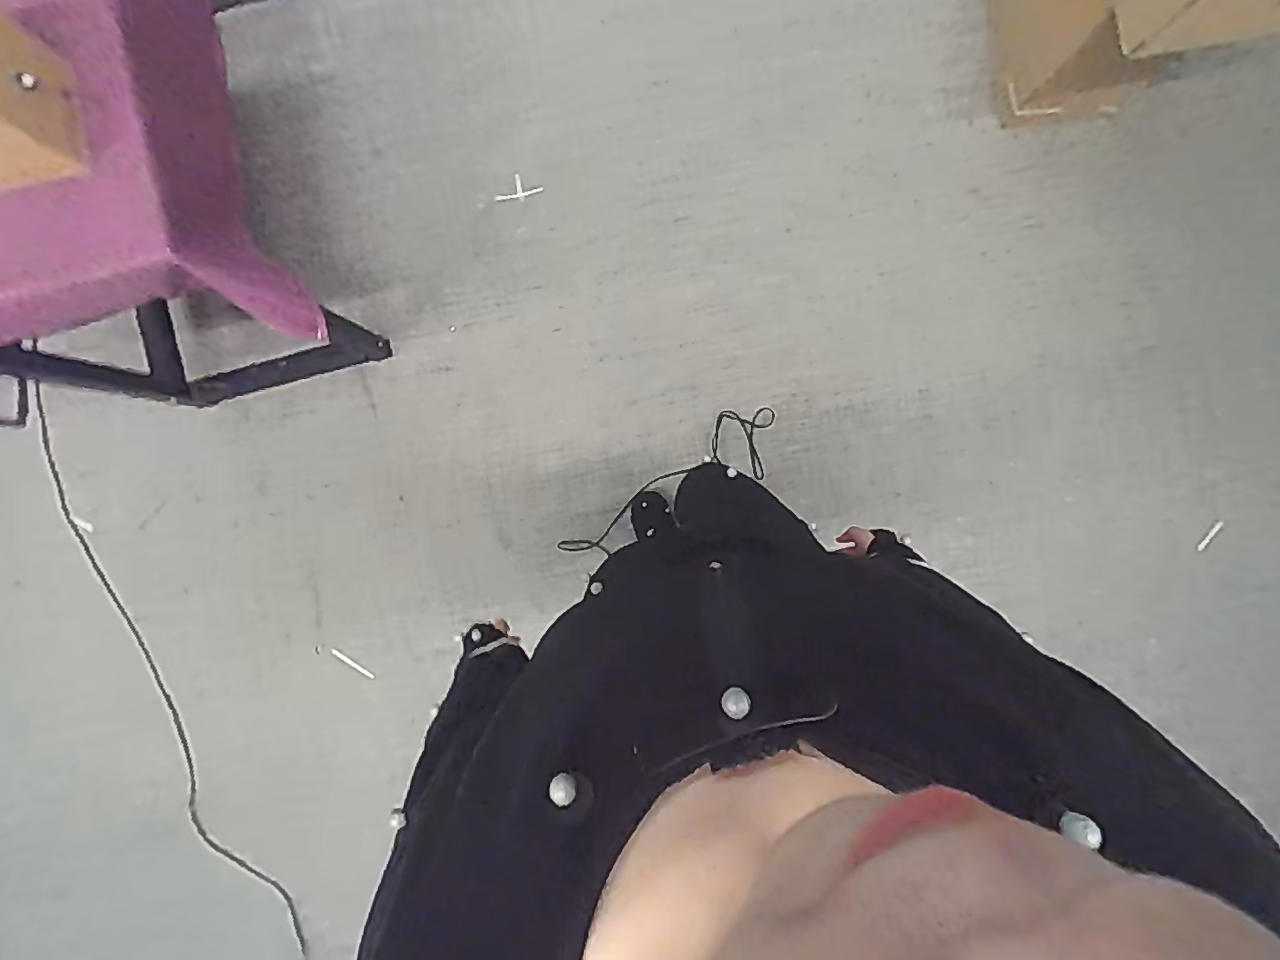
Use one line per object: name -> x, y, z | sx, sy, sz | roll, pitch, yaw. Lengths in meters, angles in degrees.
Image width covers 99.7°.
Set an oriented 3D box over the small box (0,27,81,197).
small box -> -0.907, -0.507, 0.719 | 0.179, 0.176, 0.168 | -12, 89, 2
